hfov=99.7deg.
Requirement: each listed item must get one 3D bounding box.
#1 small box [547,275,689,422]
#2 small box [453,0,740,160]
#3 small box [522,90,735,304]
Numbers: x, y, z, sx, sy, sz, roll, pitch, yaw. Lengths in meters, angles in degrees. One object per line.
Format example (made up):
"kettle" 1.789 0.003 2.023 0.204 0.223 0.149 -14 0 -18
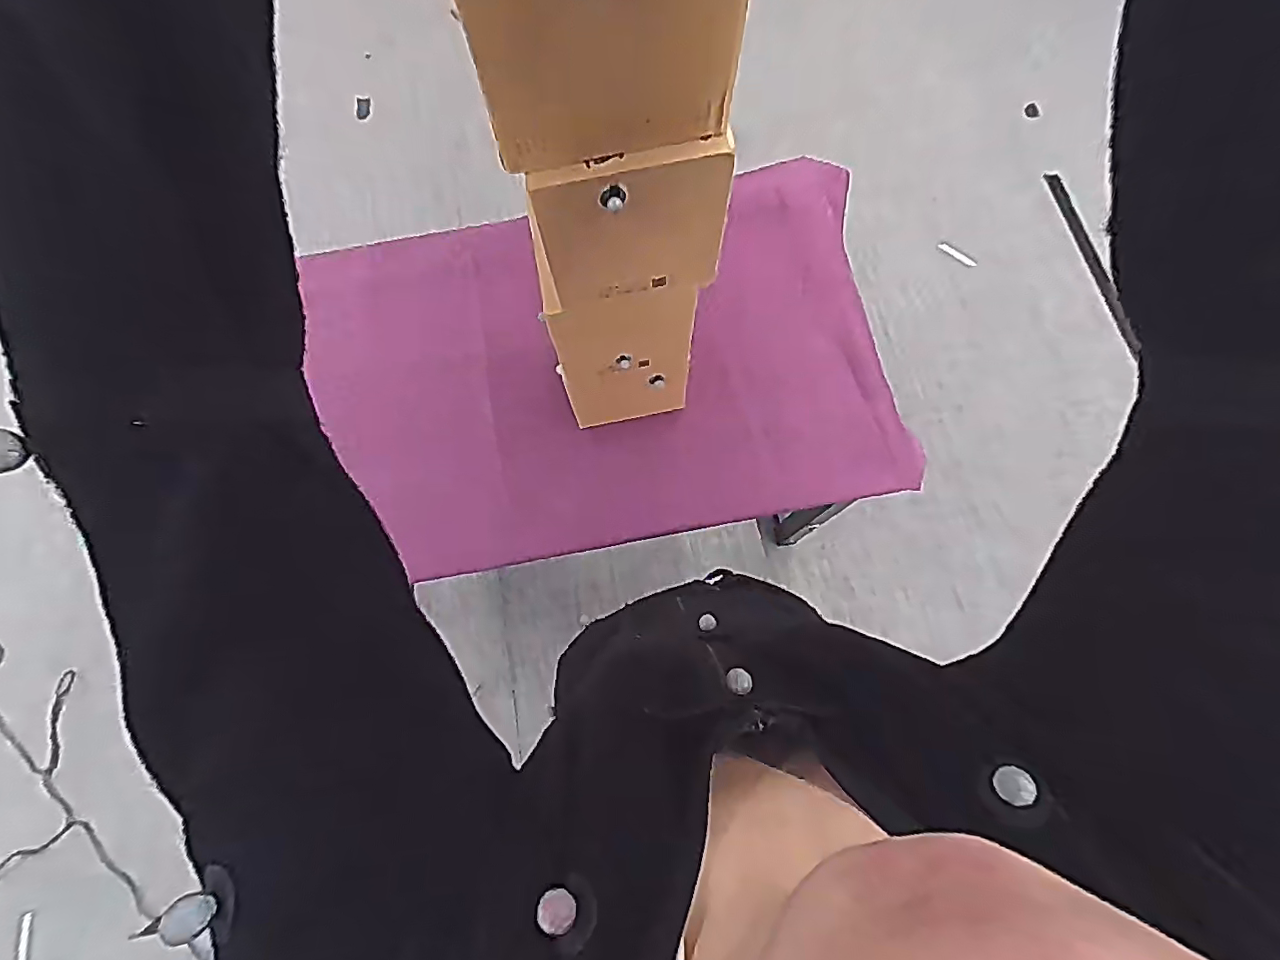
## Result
"small box" -0.031 -0.204 0.822 0.179 0.176 0.168 -12 73 -1
"small box" -0.034 -0.351 0.354 0.179 0.176 0.168 -12 75 -2
"small box" -0.021 -0.297 0.508 0.168 0.176 0.179 -12 74 -2
